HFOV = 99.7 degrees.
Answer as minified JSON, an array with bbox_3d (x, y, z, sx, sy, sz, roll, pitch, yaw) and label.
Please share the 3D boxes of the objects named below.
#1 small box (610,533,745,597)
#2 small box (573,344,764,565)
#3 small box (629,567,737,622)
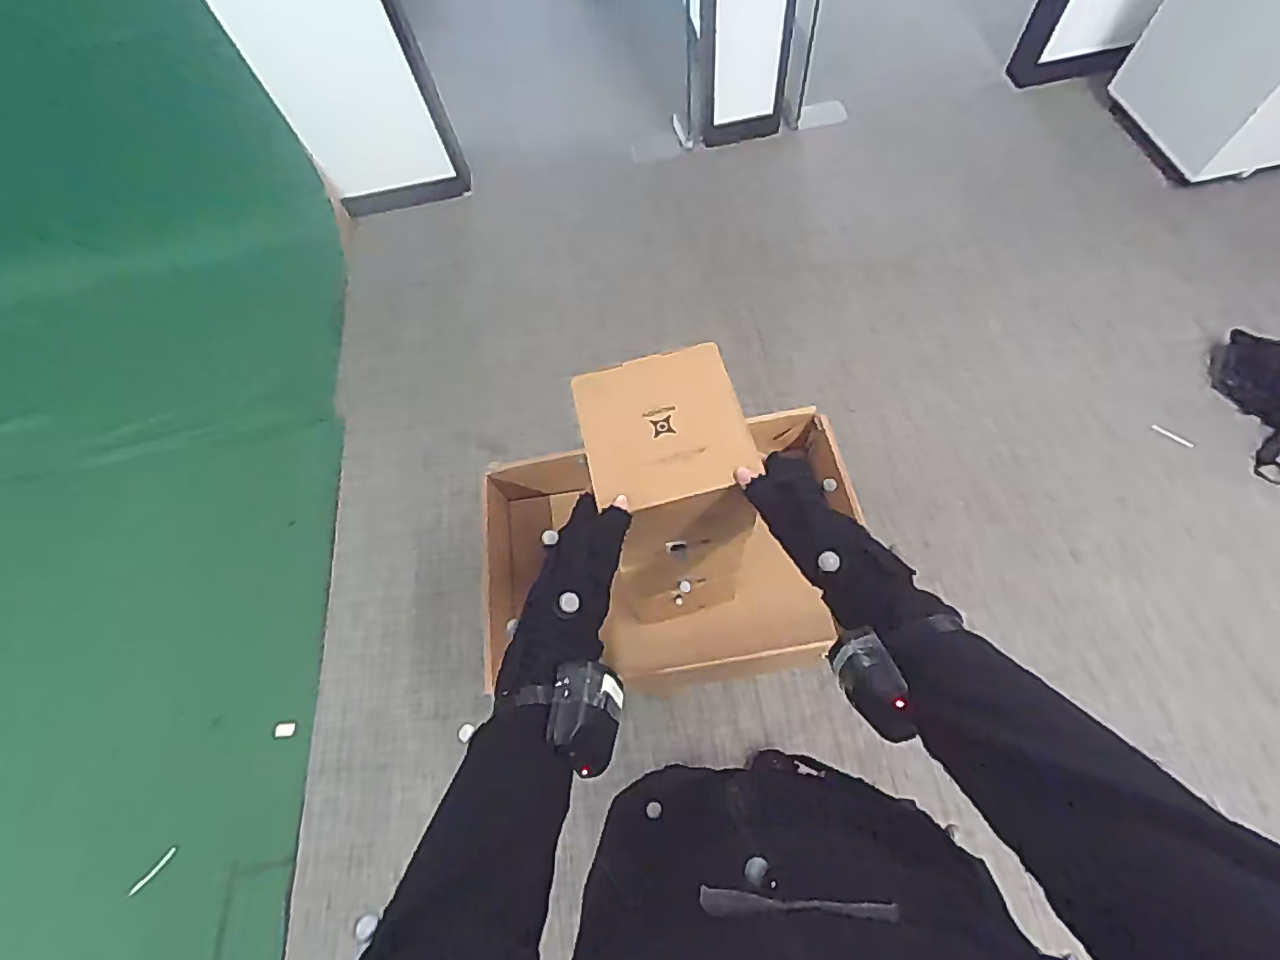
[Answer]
[{"bbox_3d":[0.040,0.050,0.774,0.168,0.176,0.179,-15,65,0],"label":"small box"},{"bbox_3d":[0.030,-0.022,0.627,0.168,0.176,0.179,-15,64,0],"label":"small box"},{"bbox_3d":[0.057,0.122,0.921,0.168,0.176,0.179,-16,63,0],"label":"small box"}]
